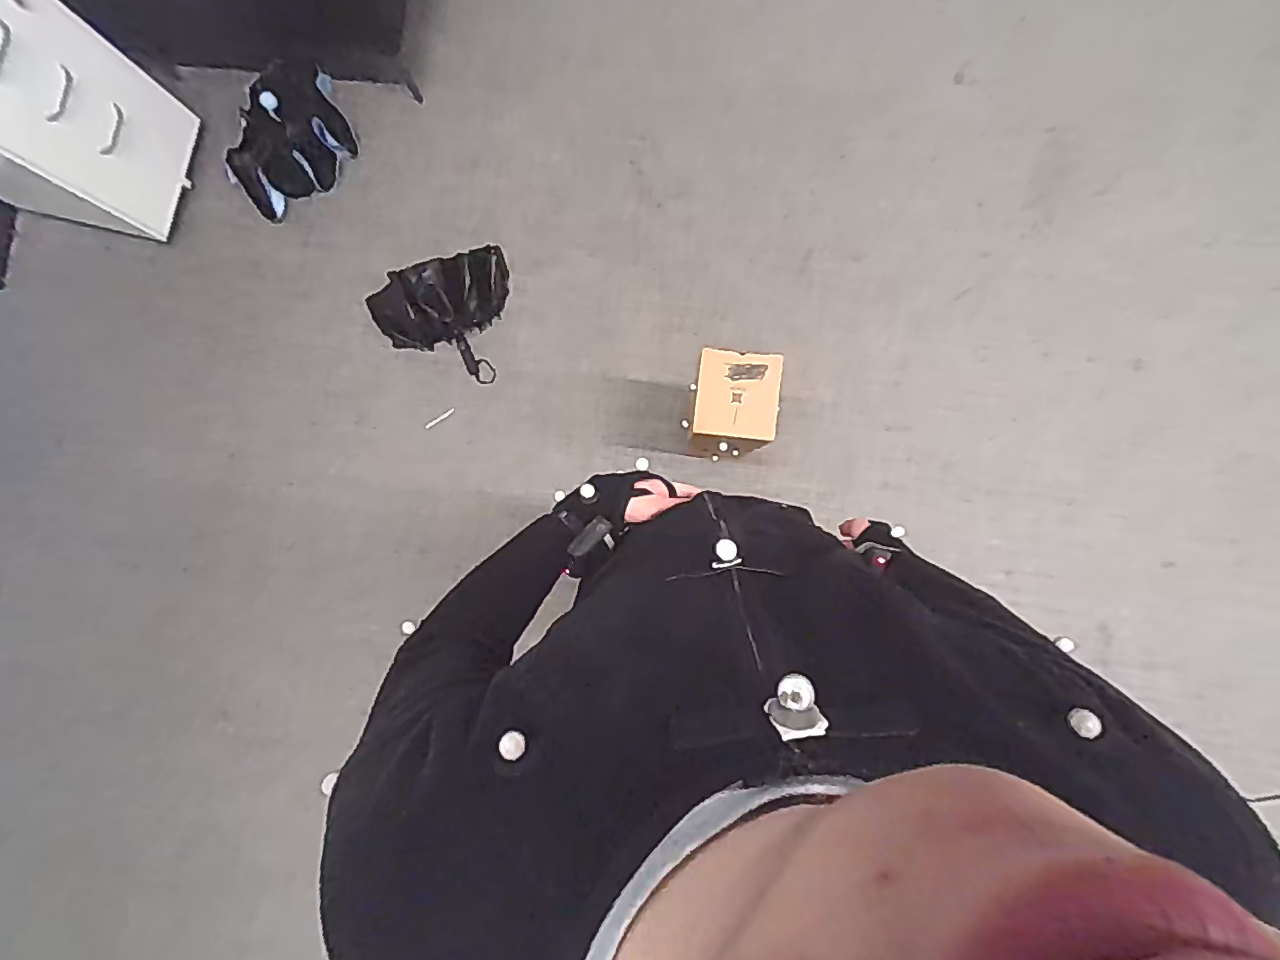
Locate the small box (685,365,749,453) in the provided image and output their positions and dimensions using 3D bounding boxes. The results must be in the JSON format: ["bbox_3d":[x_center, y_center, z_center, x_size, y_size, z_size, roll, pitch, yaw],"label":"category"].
[{"bbox_3d":[0.199,-0.164,1.310,0.168,0.176,0.179,6,86,3],"label":"small box"}]

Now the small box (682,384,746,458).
[{"bbox_3d":[0.206,-0.157,1.471,0.168,0.176,0.179,6,88,2],"label":"small box"}]

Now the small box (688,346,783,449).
[{"bbox_3d":[0.193,-0.168,1.146,0.168,0.176,0.179,7,89,3],"label":"small box"}]
